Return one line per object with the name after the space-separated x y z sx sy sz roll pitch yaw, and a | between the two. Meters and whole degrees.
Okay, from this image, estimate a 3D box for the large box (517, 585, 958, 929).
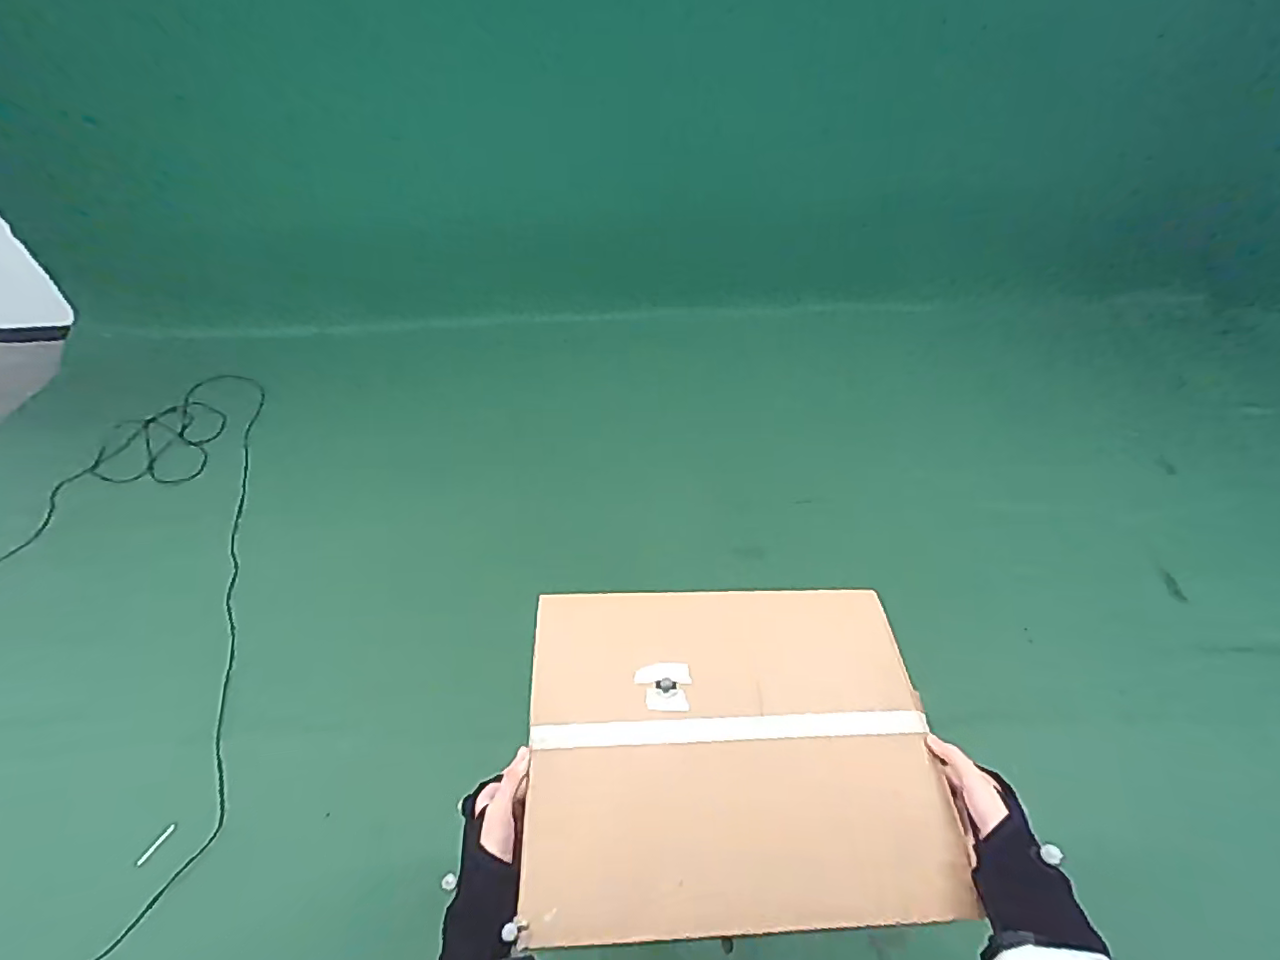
0.078 0.343 0.679 0.408 0.320 0.320 0 52 -4 | large box
